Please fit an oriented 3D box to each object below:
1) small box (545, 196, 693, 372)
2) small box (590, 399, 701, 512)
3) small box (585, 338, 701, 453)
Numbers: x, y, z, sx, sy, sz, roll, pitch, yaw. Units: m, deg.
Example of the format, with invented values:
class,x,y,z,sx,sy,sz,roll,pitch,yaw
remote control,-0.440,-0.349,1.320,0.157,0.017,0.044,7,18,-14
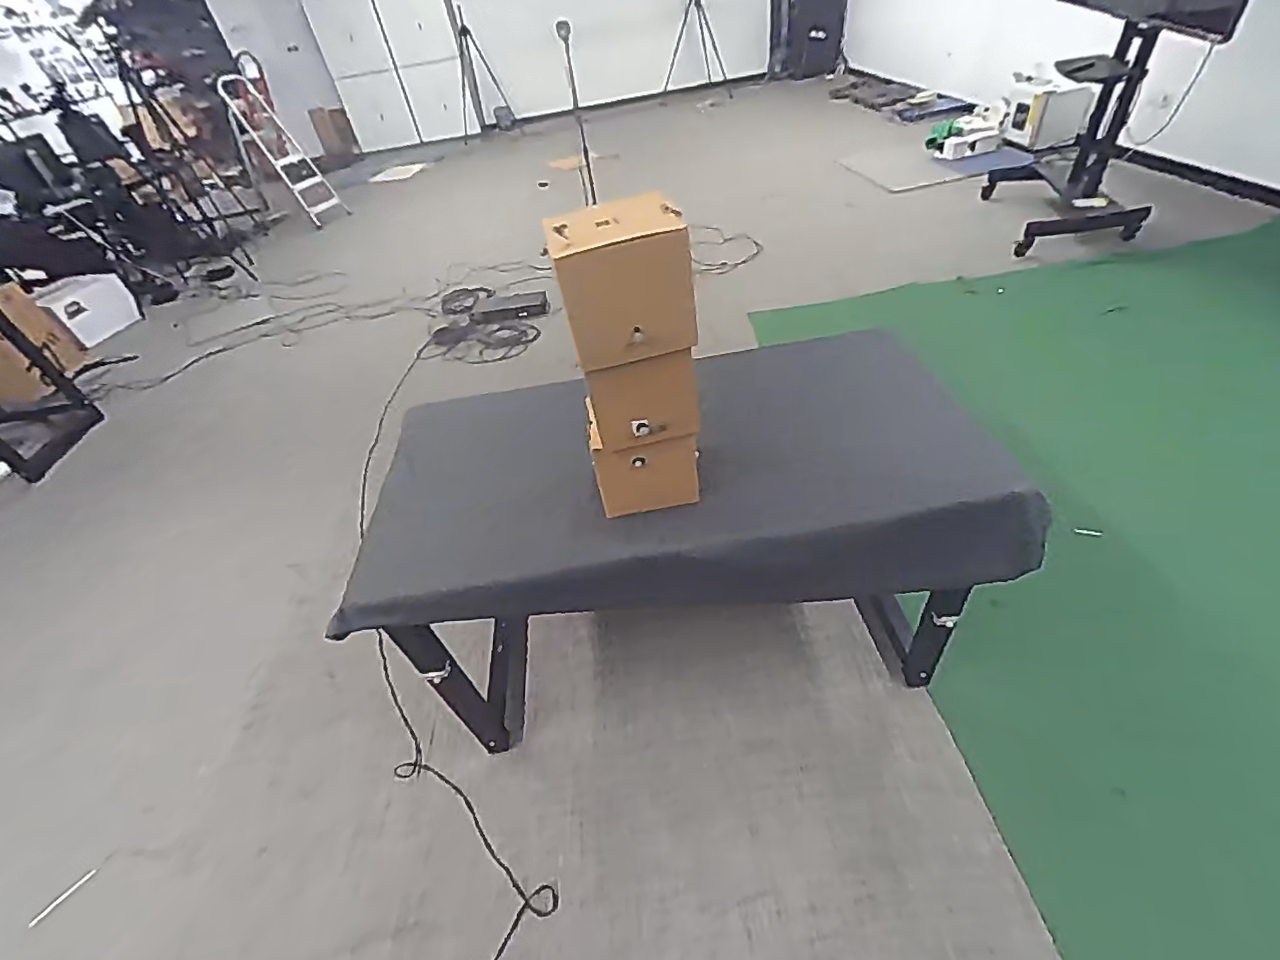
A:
class,x,y,z,sx,sy,sz,roll,pitch,yaw
small box,-0.026,-0.279,0.774,0.179,0.176,0.168,-14,42,-2
small box,0.011,-0.058,1.011,0.179,0.176,0.168,-10,42,1
small box,-0.003,-0.173,0.898,0.168,0.176,0.179,-15,44,-1
